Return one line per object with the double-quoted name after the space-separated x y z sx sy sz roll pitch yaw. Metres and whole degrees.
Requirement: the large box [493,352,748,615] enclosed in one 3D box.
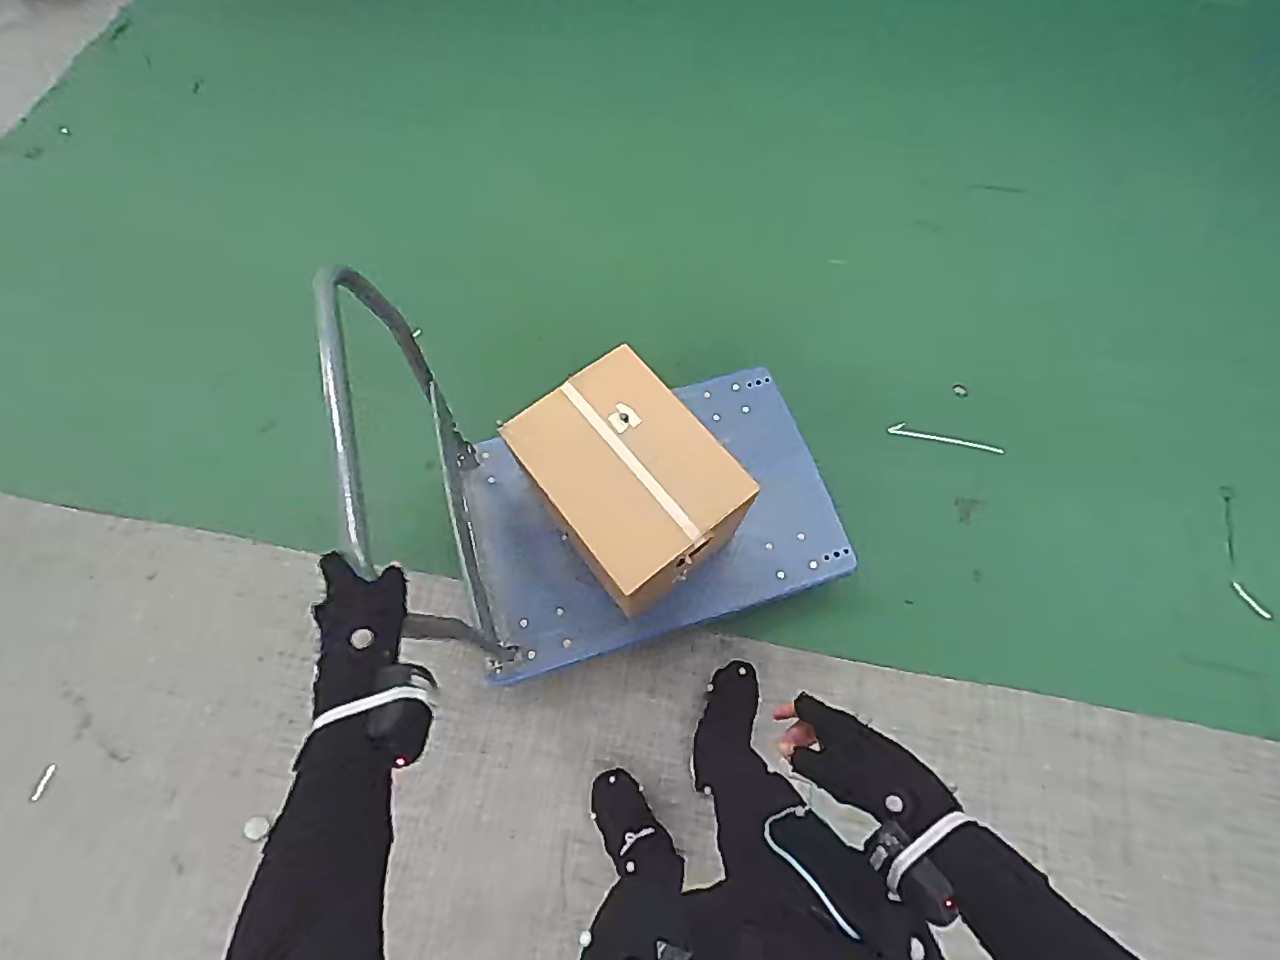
-0.037 0.022 1.150 0.320 0.320 0.408 -37 72 -13 "large box"
